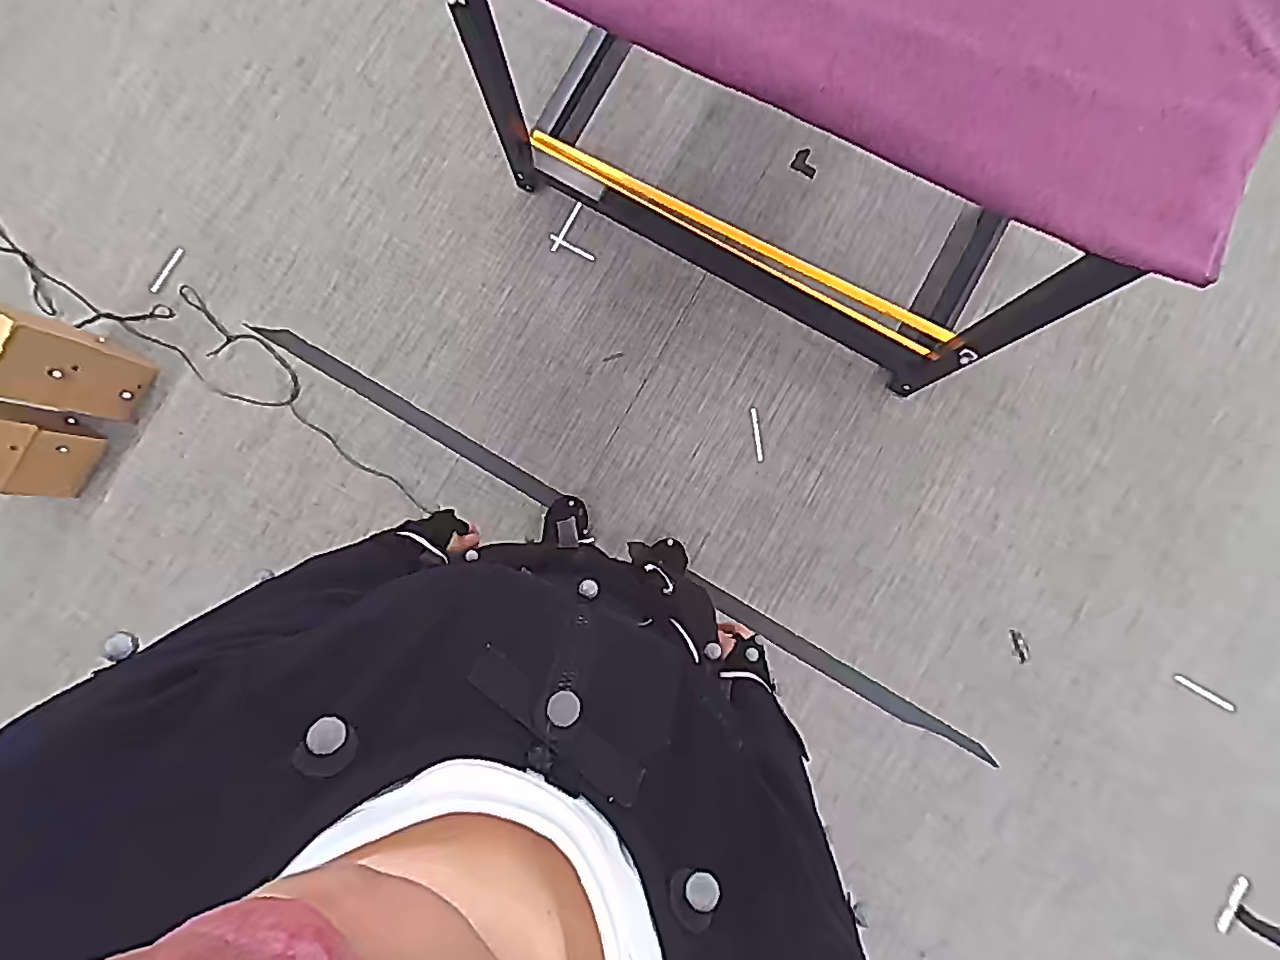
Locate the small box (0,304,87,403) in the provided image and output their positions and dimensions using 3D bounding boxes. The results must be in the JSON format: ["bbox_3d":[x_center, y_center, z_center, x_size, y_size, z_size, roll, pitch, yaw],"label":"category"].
[{"bbox_3d":[-1.387,-0.284,1.168,0.179,0.176,0.168,28,87,1],"label":"small box"}]

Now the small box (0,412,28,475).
[{"bbox_3d":[-1.503,-0.093,1.157,0.179,0.176,0.168,24,86,3],"label":"small box"}]

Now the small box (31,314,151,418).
[{"bbox_3d":[-1.388,-0.271,1.333,0.179,0.176,0.168,30,86,1],"label":"small box"}]
